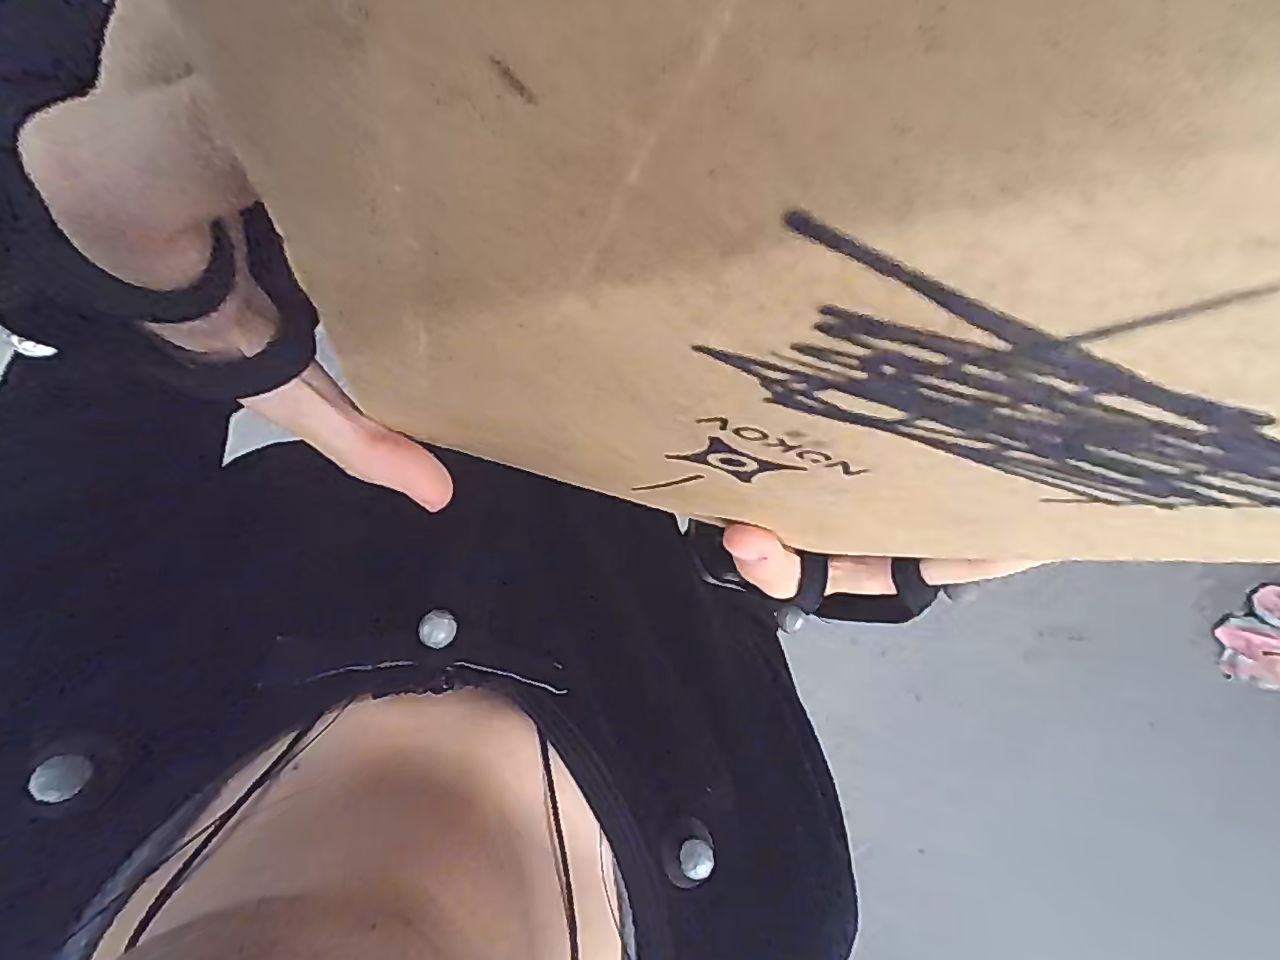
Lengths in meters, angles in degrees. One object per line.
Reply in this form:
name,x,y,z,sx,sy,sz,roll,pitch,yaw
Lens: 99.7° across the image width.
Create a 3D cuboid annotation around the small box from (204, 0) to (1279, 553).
small box,0.040,-0.083,0.131,0.168,0.179,0.176,17,77,-19
